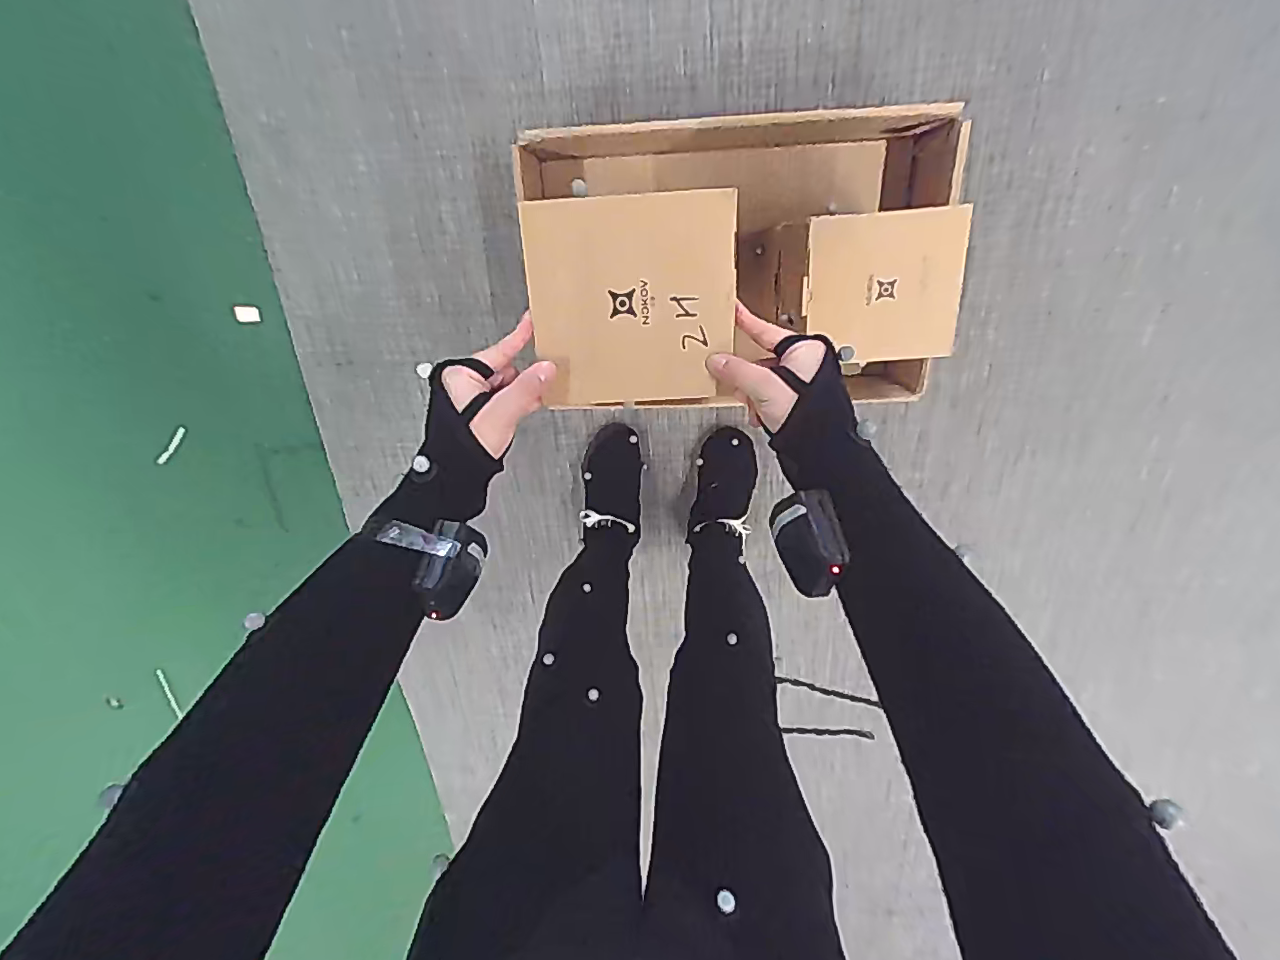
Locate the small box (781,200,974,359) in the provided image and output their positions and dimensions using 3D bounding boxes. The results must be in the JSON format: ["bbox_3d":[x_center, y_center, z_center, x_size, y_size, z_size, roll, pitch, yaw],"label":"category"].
[{"bbox_3d":[0.281,-0.254,0.688,0.179,0.176,0.168,-3,115,5],"label":"small box"}]

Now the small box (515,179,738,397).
[{"bbox_3d":[-0.006,-0.179,0.517,0.179,0.176,0.168,-3,111,2],"label":"small box"}]
